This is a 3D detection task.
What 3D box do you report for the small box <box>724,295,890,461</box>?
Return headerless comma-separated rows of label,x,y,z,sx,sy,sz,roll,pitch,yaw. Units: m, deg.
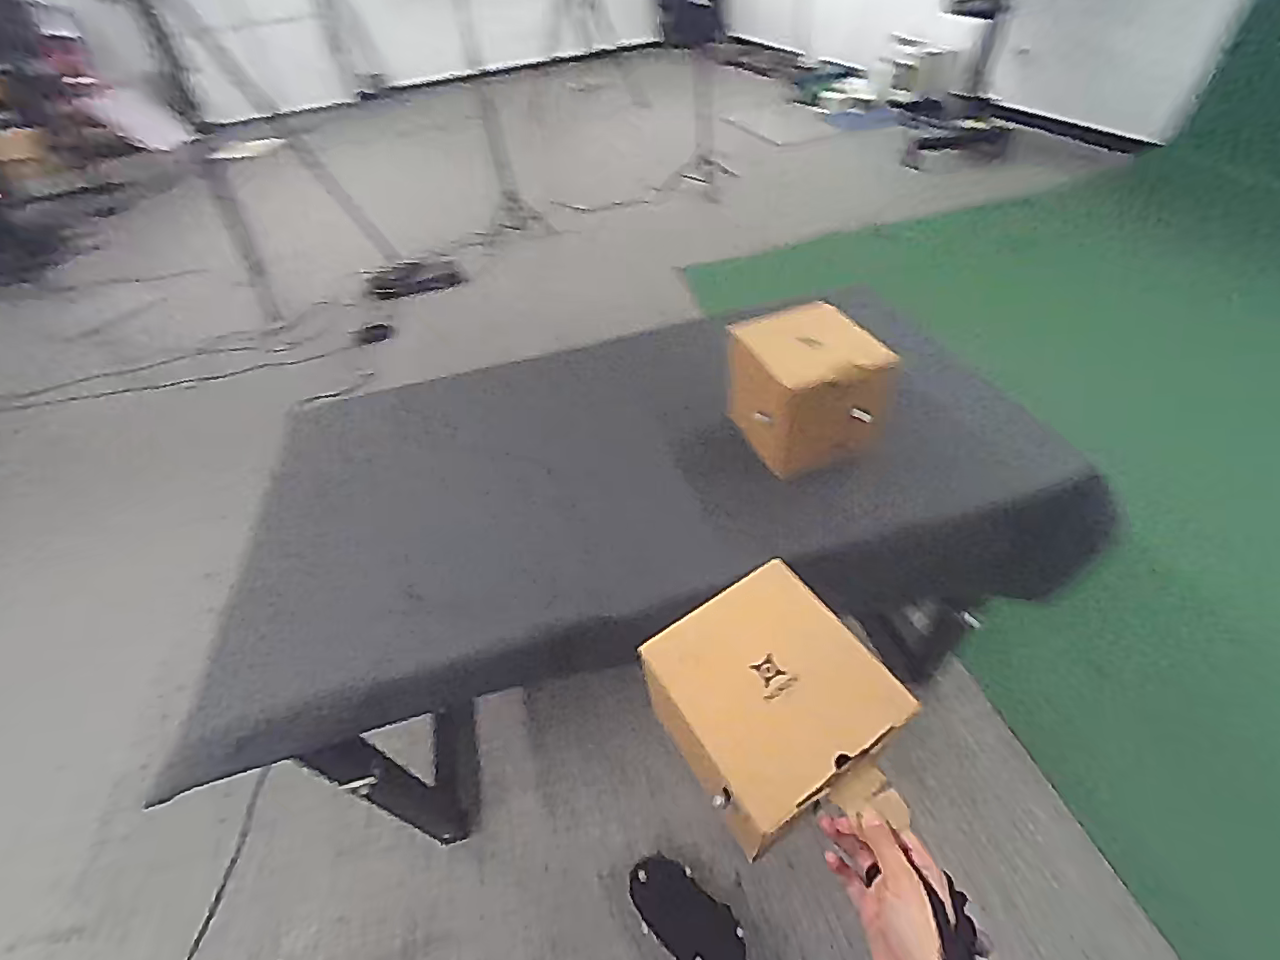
small box,0.237,-0.147,0.813,0.168,0.176,0.179,-17,45,-10
